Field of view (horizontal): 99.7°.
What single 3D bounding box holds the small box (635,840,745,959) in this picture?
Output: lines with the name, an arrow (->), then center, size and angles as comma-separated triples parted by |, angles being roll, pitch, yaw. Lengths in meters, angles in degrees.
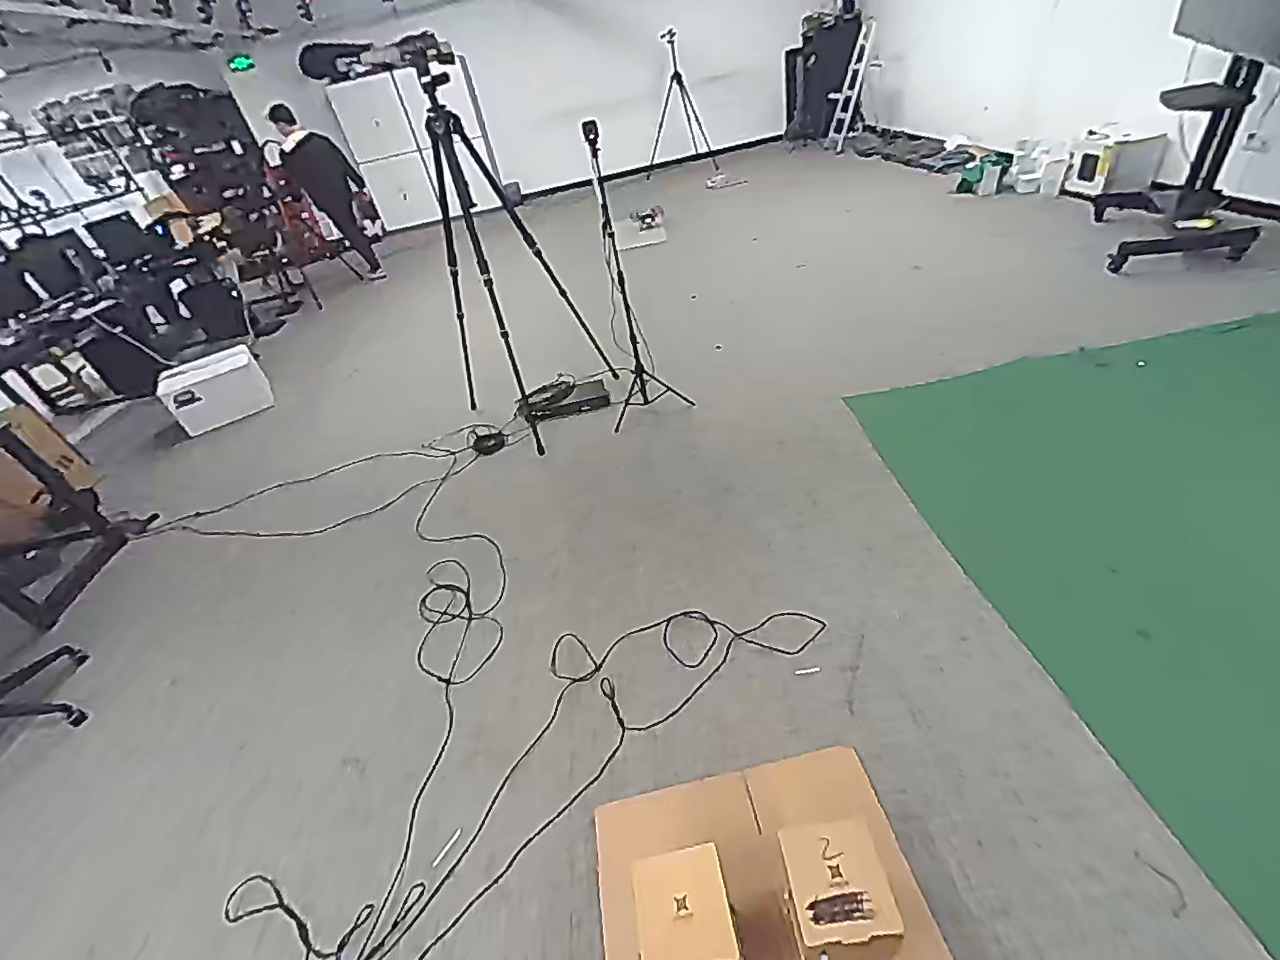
small box -> 0.092, 0.810, 1.003 | 0.168, 0.176, 0.179 | -14, 38, 0

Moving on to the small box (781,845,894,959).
small box -> 0.390, 0.878, 1.096 | 0.168, 0.176, 0.179 | -12, 39, 4
